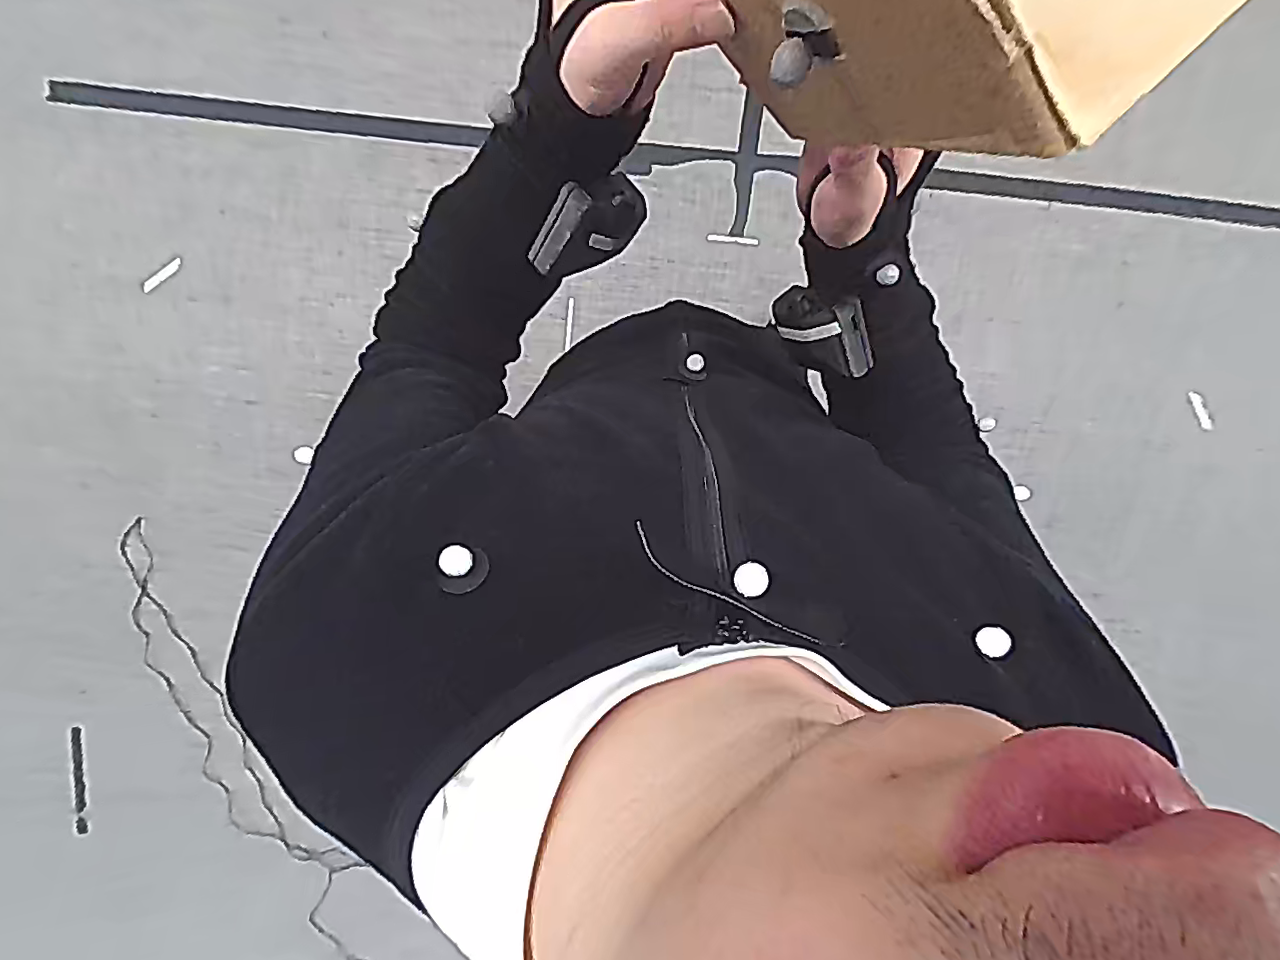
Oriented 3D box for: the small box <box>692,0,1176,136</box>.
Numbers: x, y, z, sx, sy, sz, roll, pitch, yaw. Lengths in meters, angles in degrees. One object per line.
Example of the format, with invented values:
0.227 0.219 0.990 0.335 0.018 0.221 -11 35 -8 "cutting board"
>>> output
0.080 -0.225 0.138 0.168 0.176 0.179 33 111 -29 "small box"
